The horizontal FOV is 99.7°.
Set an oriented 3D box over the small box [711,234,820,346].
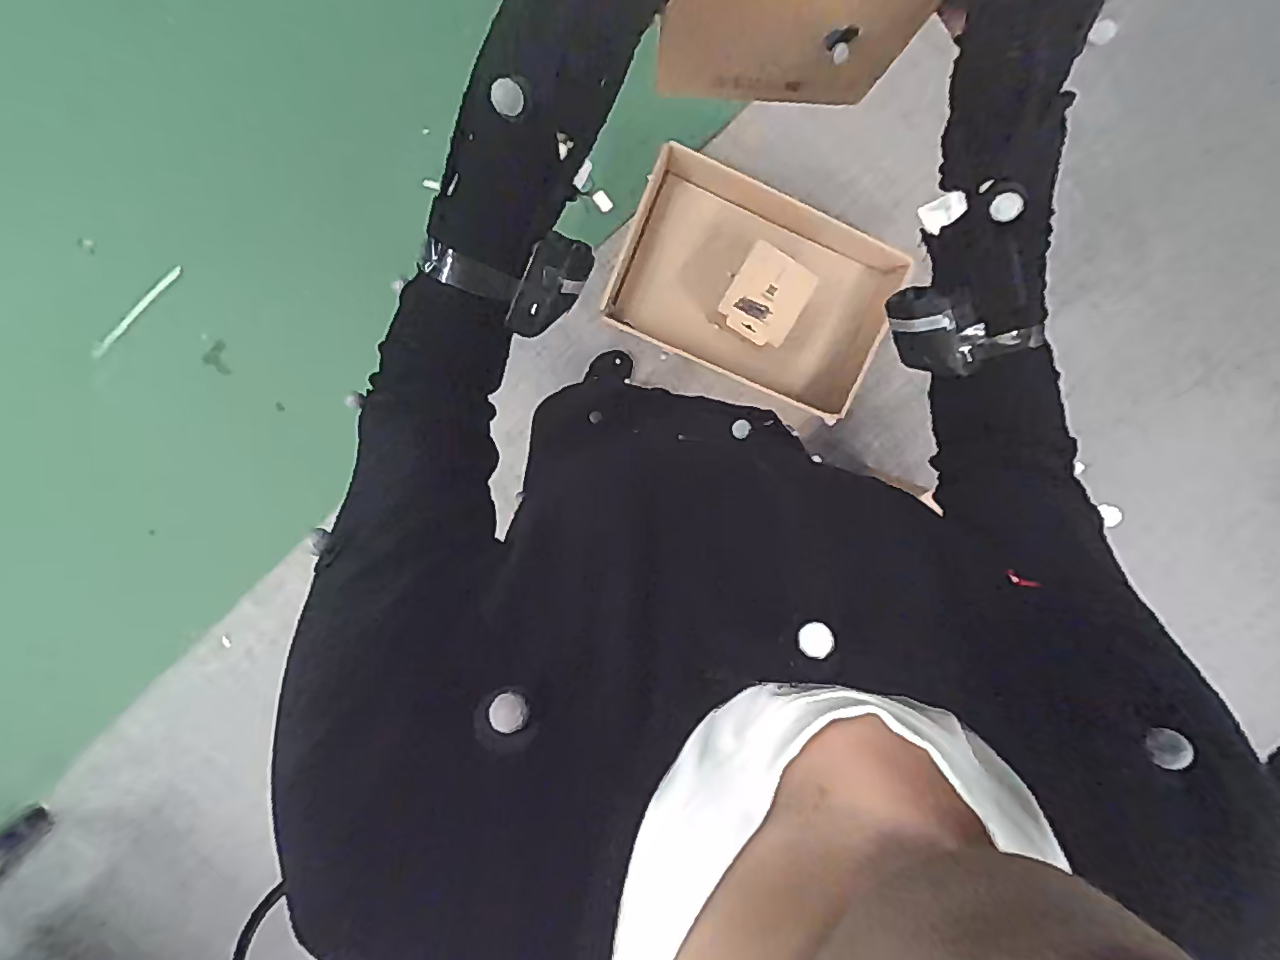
[{"bbox_3d":[0.281,-0.430,1.261,0.168,0.176,0.179,31,97,-7],"label":"small box"}]
